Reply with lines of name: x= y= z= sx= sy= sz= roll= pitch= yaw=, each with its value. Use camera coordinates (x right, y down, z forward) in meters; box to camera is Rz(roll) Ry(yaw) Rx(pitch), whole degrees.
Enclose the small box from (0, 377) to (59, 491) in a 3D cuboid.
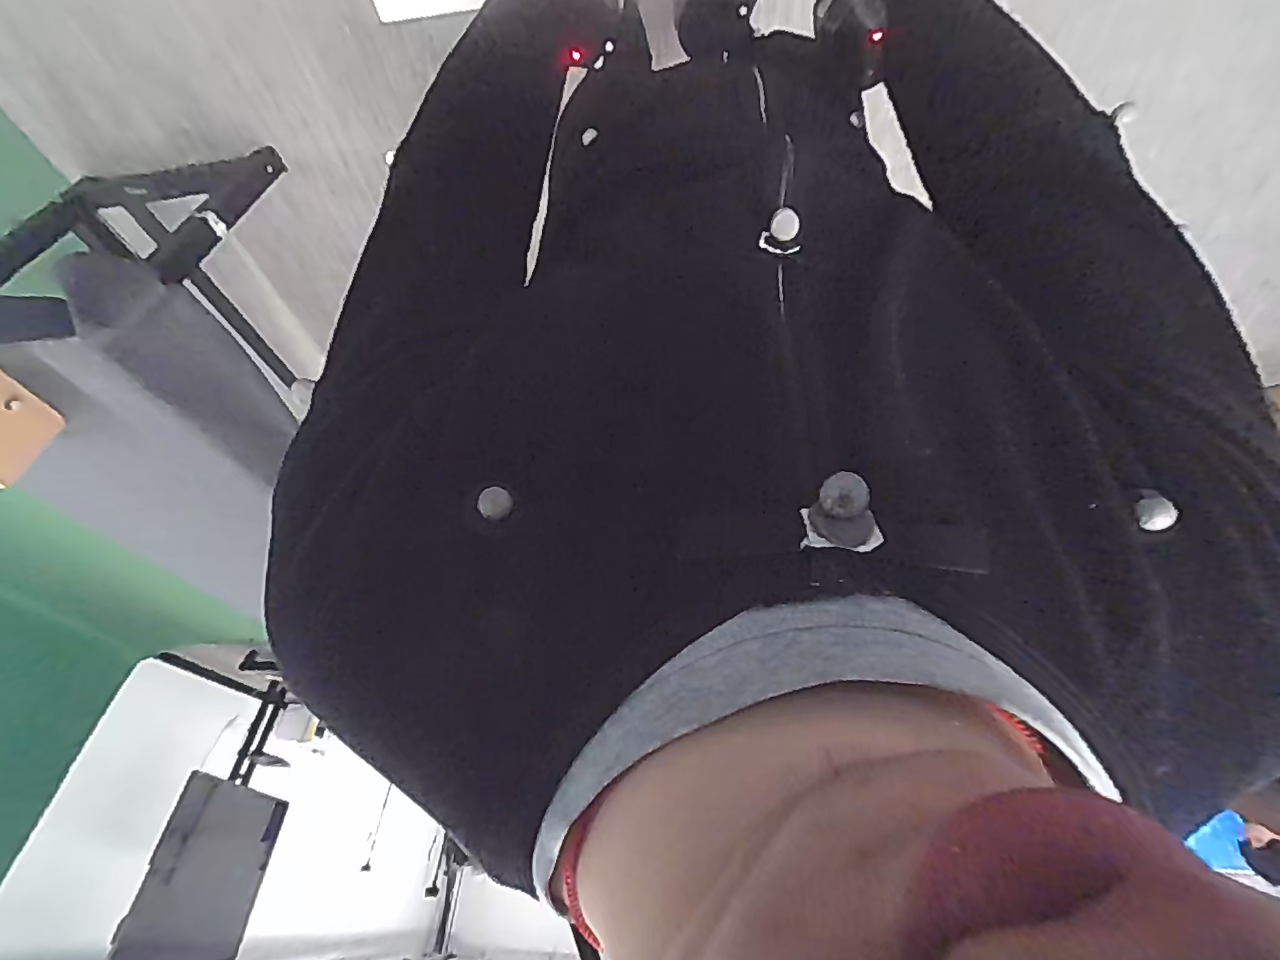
small box: x=-1.208 y=-0.096 z=0.940 sx=0.168 sy=0.176 sz=0.179 roll=0 pitch=144 yaw=4
